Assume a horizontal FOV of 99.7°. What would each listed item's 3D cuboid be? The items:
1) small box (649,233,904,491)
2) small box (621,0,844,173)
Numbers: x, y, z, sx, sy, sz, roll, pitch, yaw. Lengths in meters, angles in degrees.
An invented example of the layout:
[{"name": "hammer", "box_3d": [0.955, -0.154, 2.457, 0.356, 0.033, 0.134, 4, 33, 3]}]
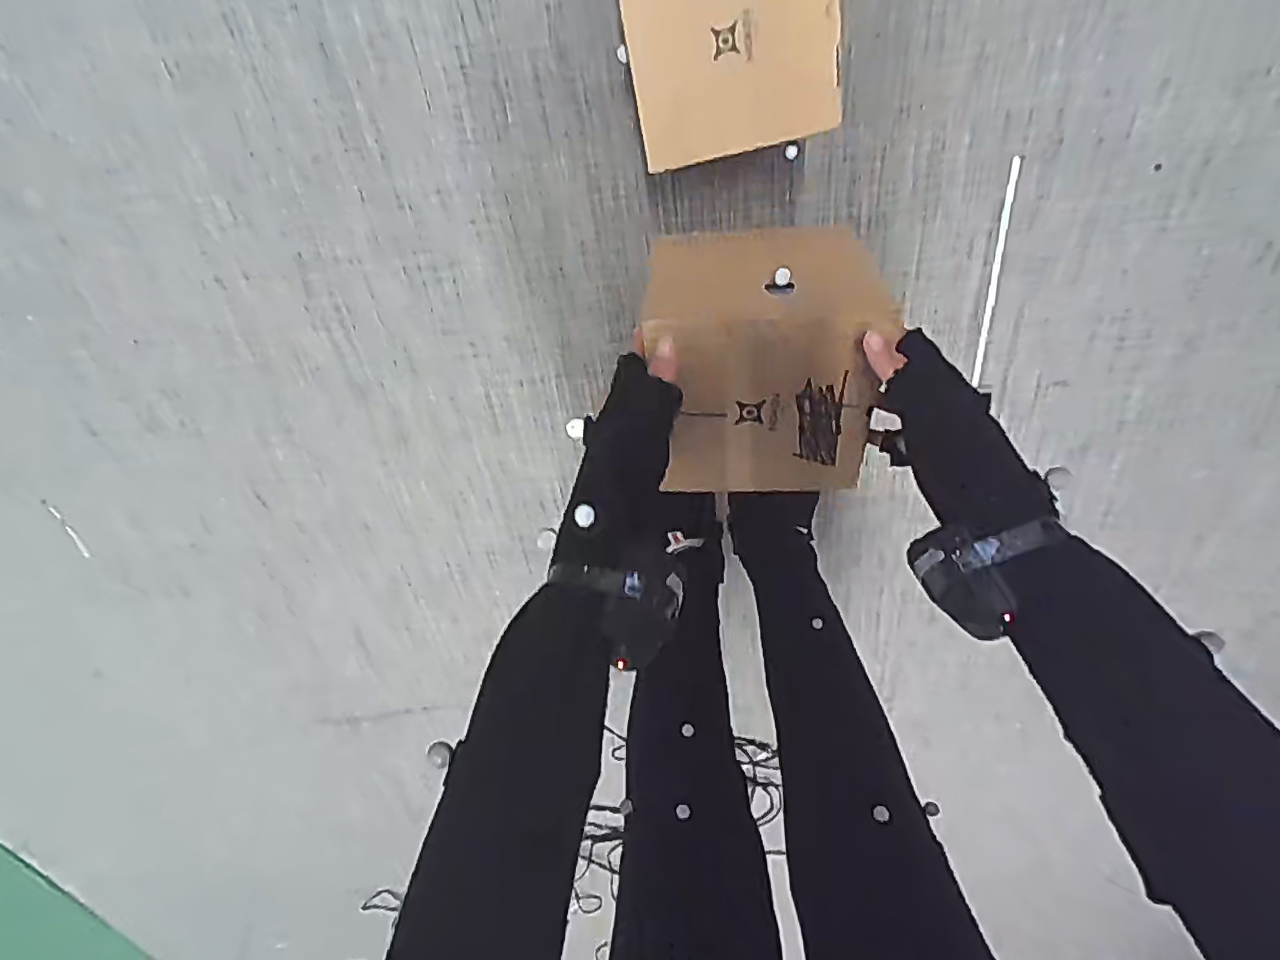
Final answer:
[{"name": "small box", "box_3d": [0.100, -0.107, 0.479, 0.179, 0.176, 0.168, 0, 132, 5]}, {"name": "small box", "box_3d": [0.085, -0.405, 0.520, 0.179, 0.176, 0.168, -9, 118, 9]}]
